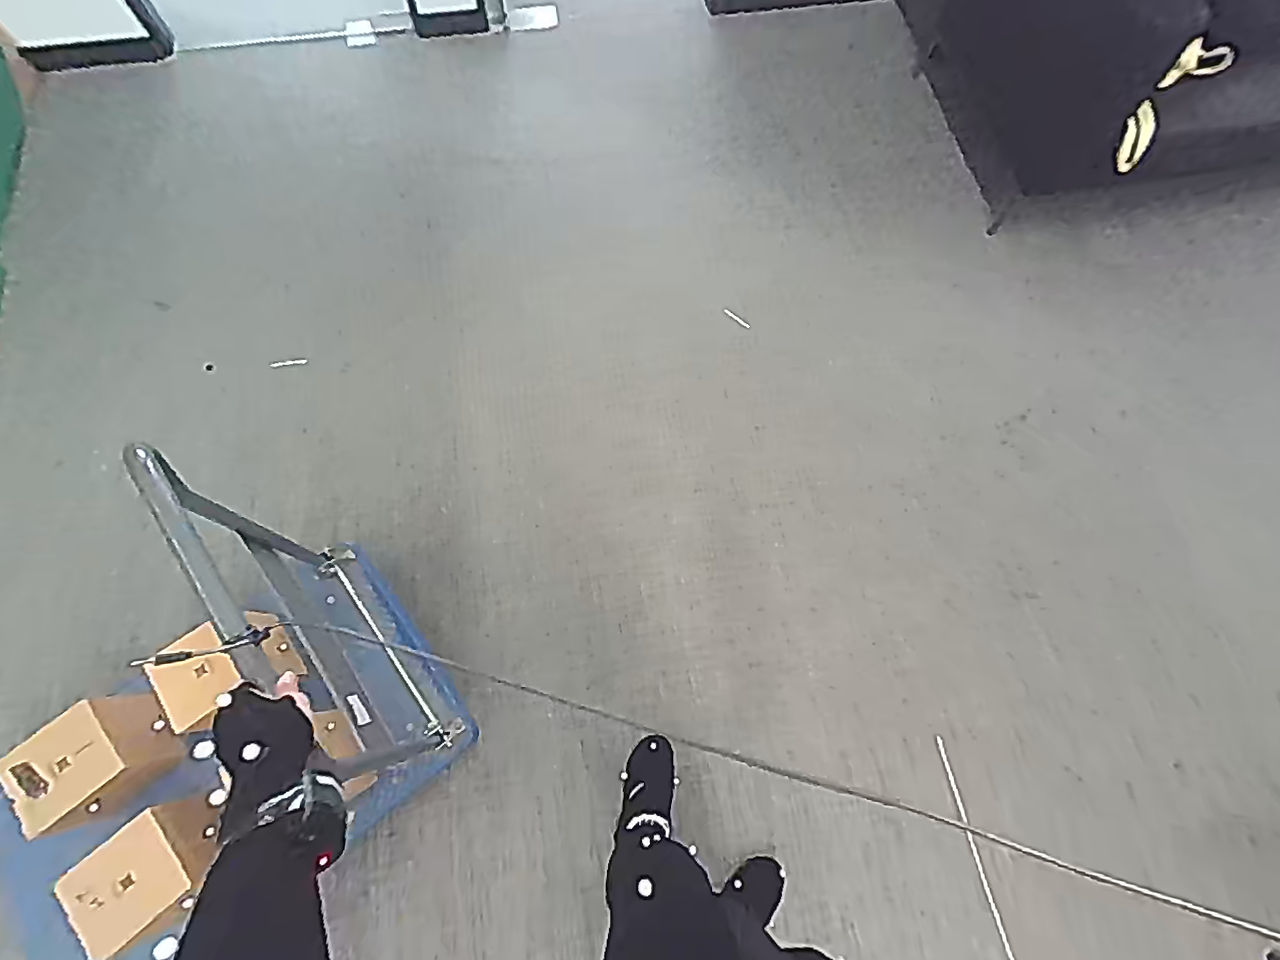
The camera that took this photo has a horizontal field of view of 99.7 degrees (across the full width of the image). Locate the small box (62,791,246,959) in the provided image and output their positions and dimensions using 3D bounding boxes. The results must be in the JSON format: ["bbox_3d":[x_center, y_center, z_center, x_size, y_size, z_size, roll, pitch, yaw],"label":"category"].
[{"bbox_3d":[-0.891,0.725,1.017,0.179,0.176,0.168,-40,76,-15],"label":"small box"}]

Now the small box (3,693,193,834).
[{"bbox_3d":[-1.060,0.547,1.073,0.179,0.176,0.168,-40,77,-14],"label":"small box"}]

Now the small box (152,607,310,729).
[{"bbox_3d":[-0.848,0.393,1.137,0.179,0.176,0.168,-35,76,-14],"label":"small box"}]
